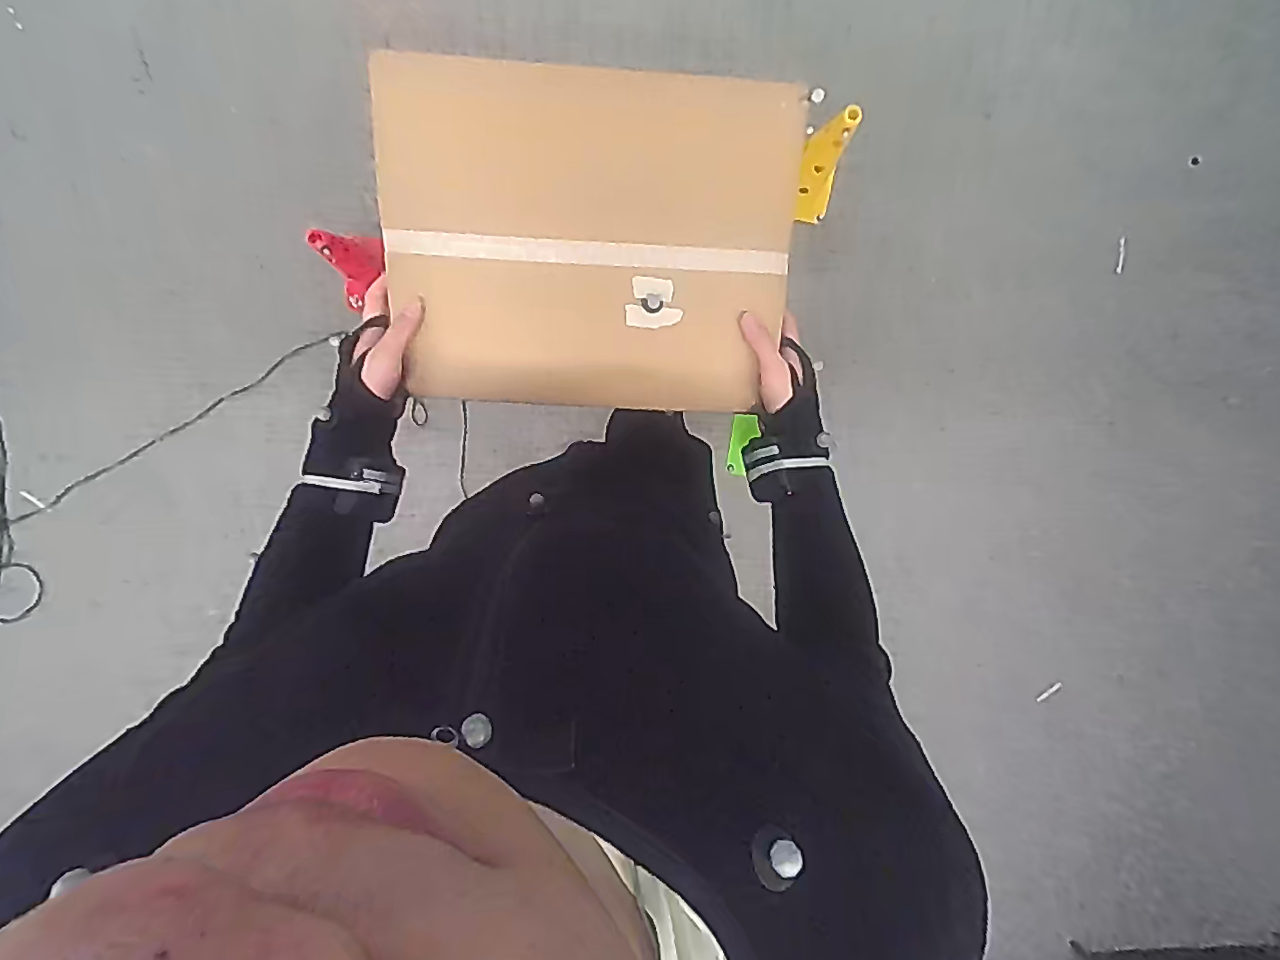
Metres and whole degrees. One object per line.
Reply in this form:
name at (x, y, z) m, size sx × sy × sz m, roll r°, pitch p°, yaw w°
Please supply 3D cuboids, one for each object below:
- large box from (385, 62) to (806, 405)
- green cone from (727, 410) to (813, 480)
large box at (-0.052, -0.279, 0.694) m, size 0.408 × 0.320 × 0.320 m, roll 2°, pitch 109°, yaw -3°
green cone at (0.384, -0.084, 1.467) m, size 0.200 × 0.368 × 0.202 m, roll 7°, pitch 96°, yaw -5°
